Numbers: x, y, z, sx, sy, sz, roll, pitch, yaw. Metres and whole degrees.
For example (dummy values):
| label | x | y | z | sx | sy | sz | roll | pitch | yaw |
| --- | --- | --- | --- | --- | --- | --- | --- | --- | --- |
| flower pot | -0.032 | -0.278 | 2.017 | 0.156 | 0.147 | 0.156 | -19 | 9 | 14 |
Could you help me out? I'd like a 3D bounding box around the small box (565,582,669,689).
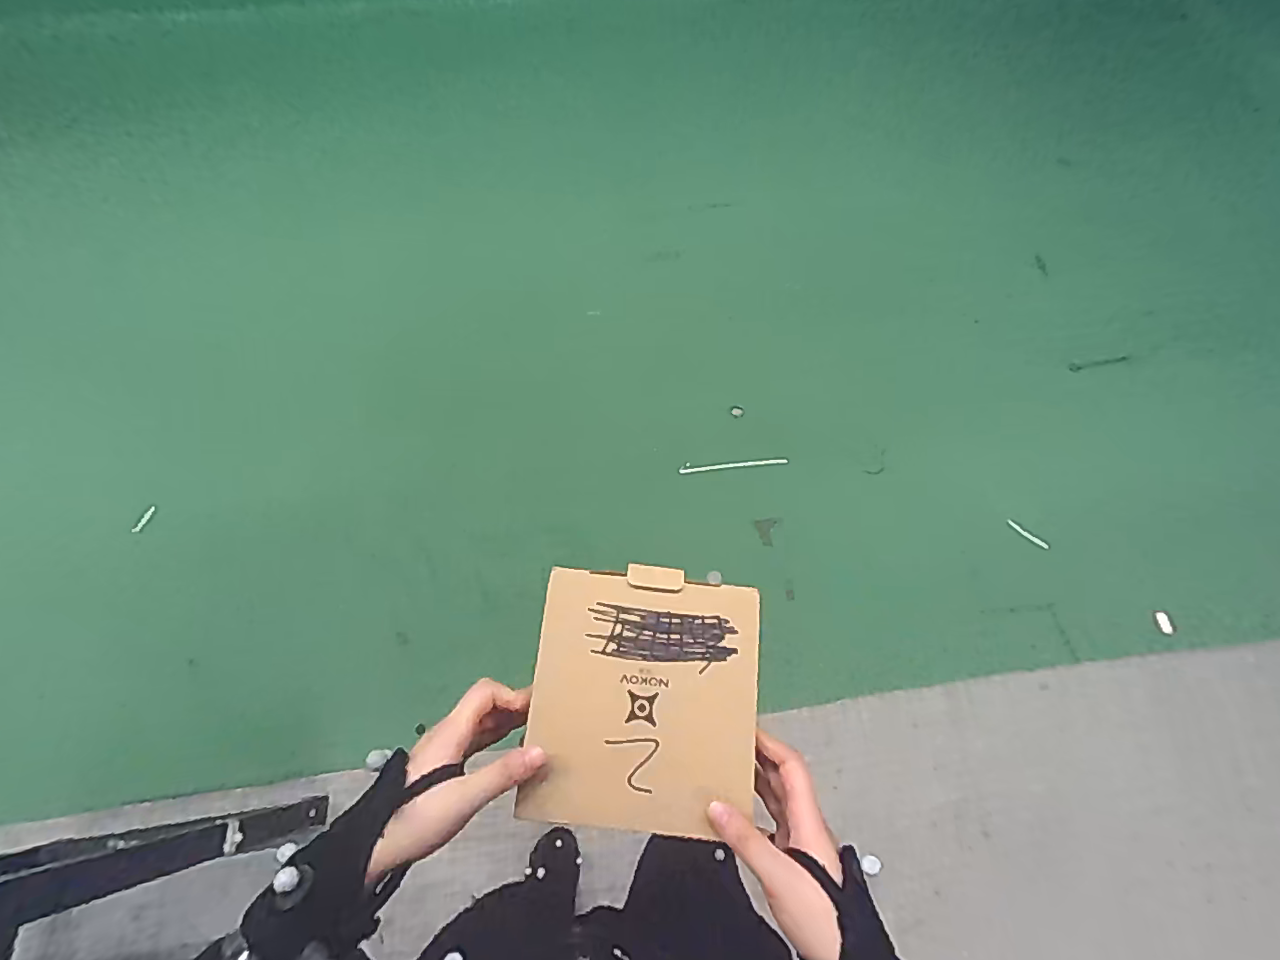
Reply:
| label | x | y | z | sx | sy | sz | roll | pitch | yaw |
| --- | --- | --- | --- | --- | --- | --- | --- | --- | --- |
| small box | -0.051 | 0.370 | 1.273 | 0.179 | 0.176 | 0.168 | 36 | 70 | 14 |
